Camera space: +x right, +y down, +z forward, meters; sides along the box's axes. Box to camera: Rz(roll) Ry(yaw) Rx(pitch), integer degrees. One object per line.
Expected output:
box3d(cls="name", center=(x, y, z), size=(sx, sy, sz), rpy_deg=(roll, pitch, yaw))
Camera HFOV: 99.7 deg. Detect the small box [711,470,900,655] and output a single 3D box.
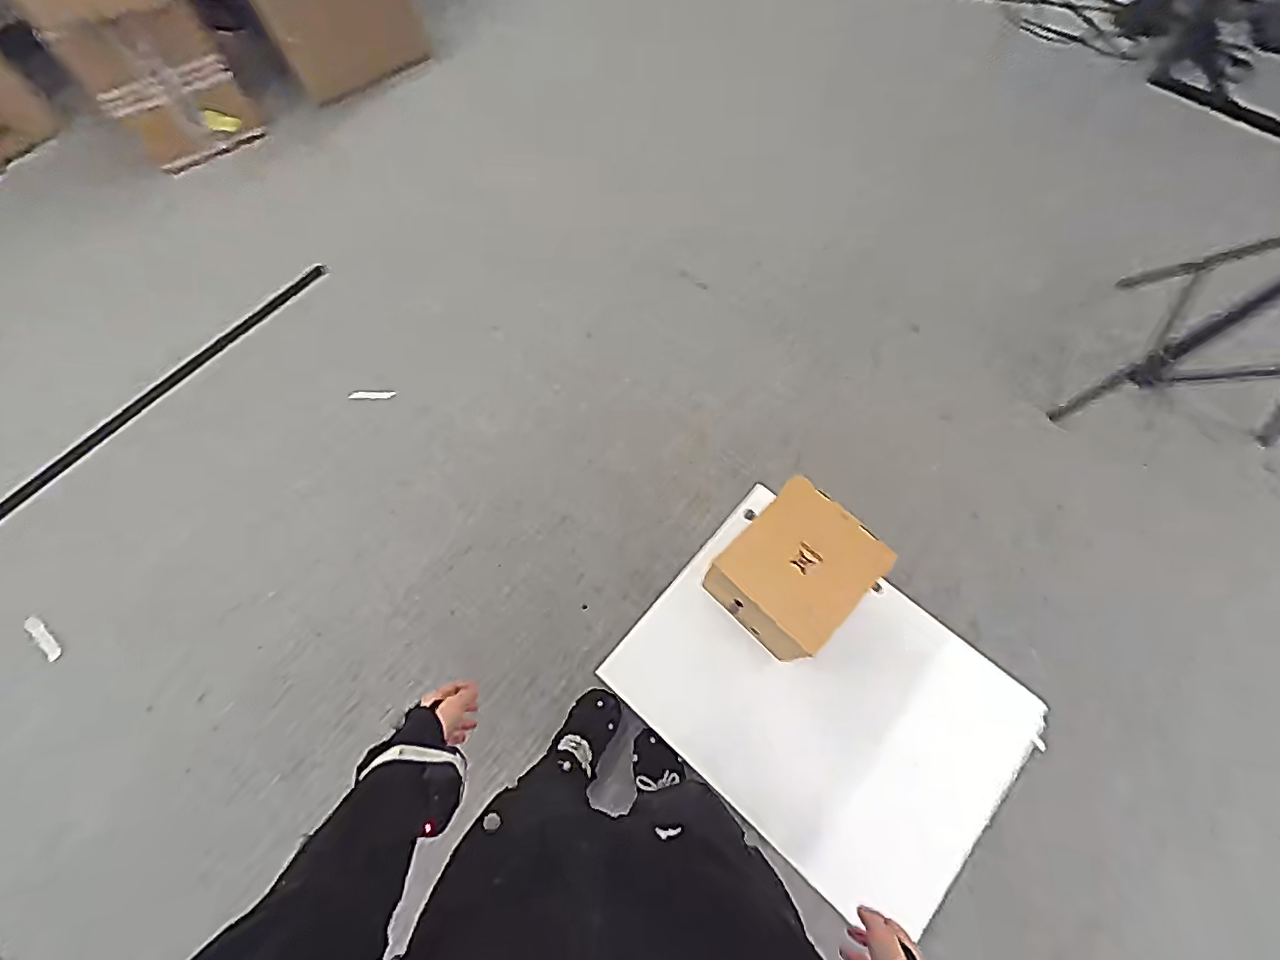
box3d(cls="small box", center=(0.213, 0.124, 0.752), size=(0.179, 0.176, 0.168), rpy_deg=(-43, 74, -14))
